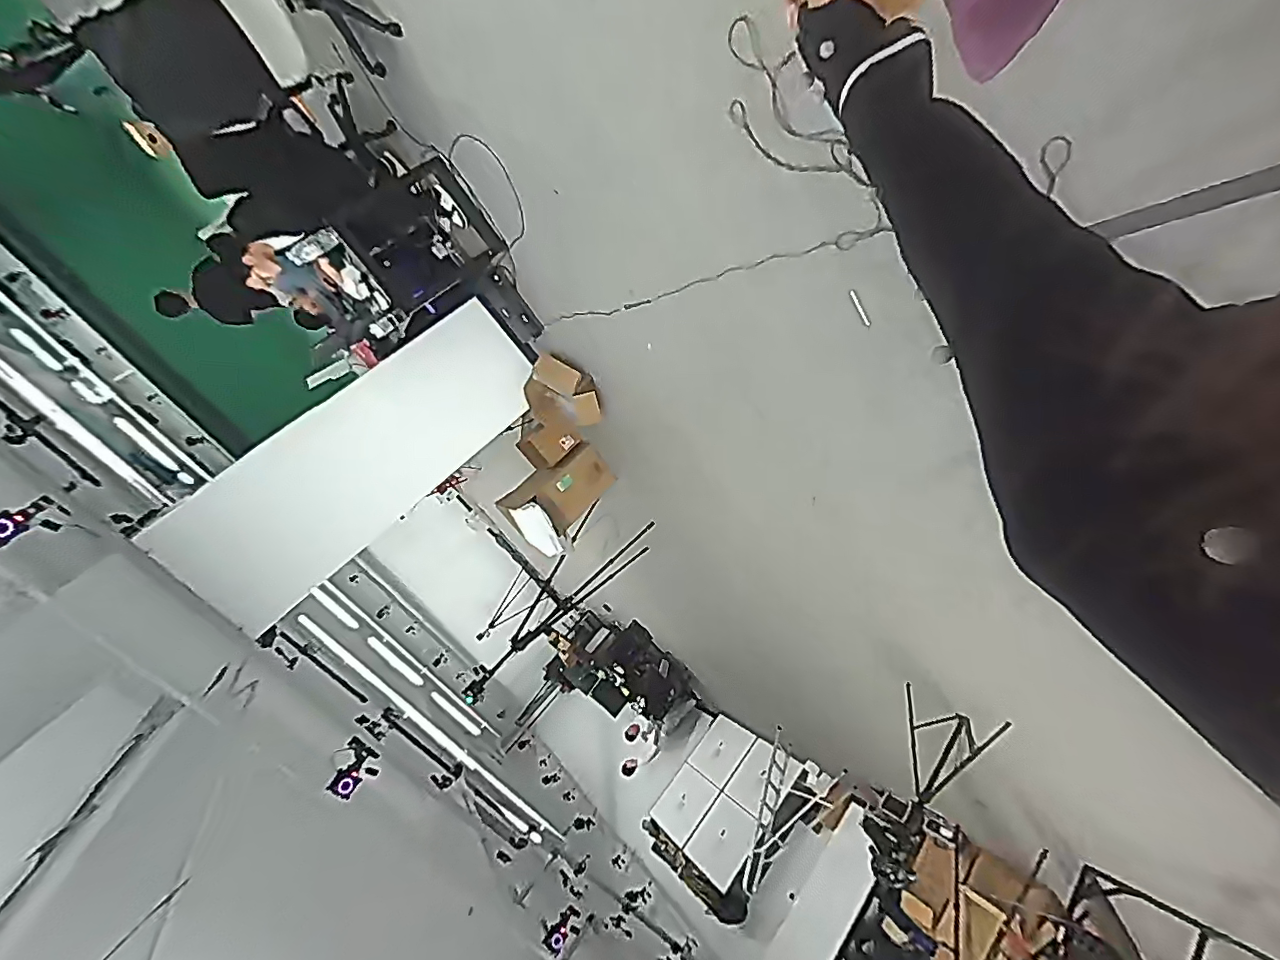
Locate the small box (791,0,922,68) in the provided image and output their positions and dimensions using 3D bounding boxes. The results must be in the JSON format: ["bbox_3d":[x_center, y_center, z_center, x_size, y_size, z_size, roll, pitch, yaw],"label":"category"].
[{"bbox_3d":[0.255,-0.572,0.537,0.168,0.176,0.179,52,156,-19],"label":"small box"}]
